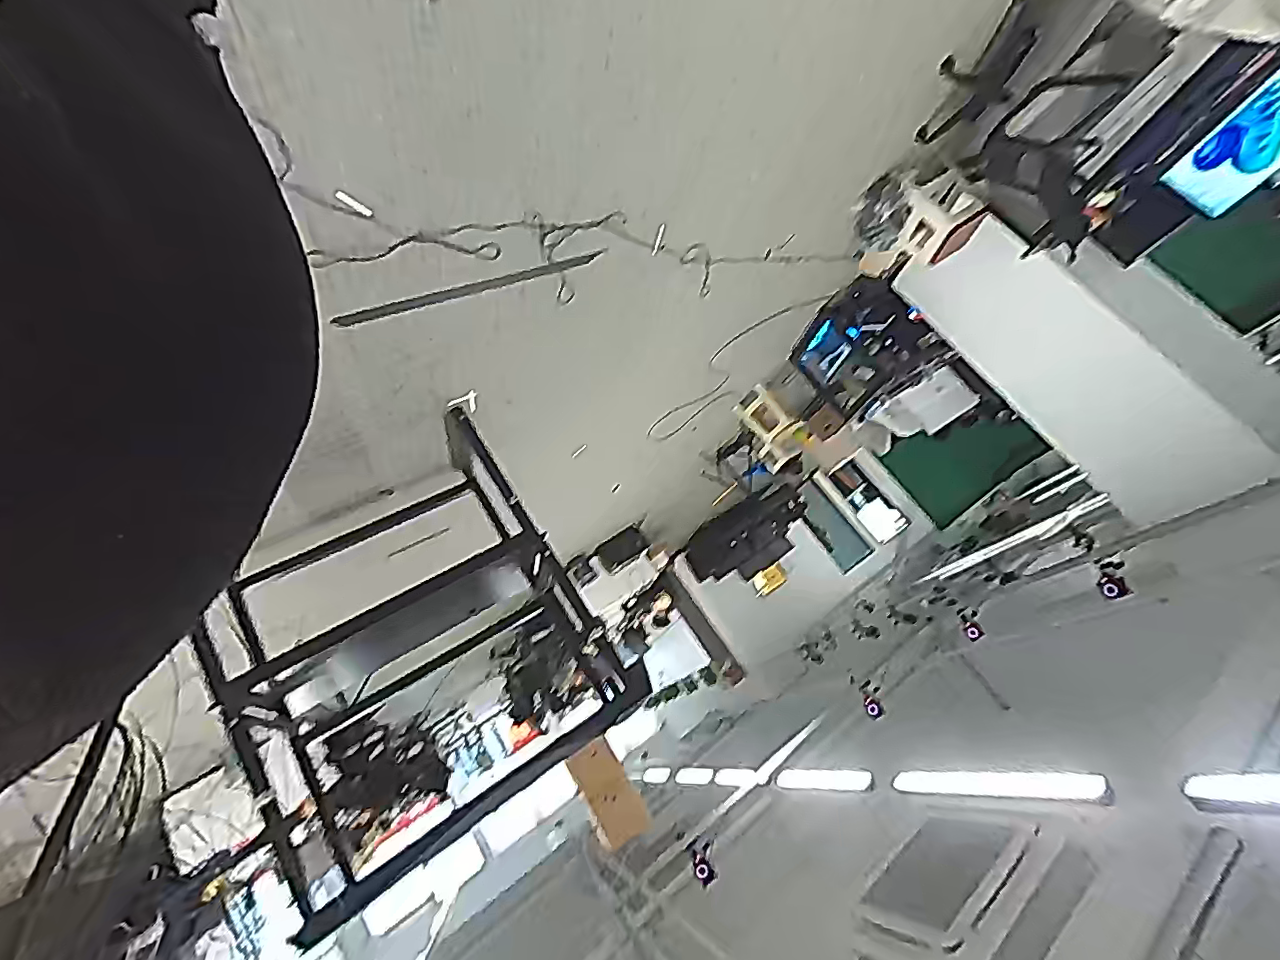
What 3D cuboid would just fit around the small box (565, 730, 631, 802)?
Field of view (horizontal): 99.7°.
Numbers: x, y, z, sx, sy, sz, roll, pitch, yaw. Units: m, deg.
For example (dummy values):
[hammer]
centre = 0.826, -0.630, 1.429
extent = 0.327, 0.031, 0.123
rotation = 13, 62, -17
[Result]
[small box]
centre = -0.159, 1.030, 1.959
extent = 0.168, 0.176, 0.179
rotation = -27, 163, -24
